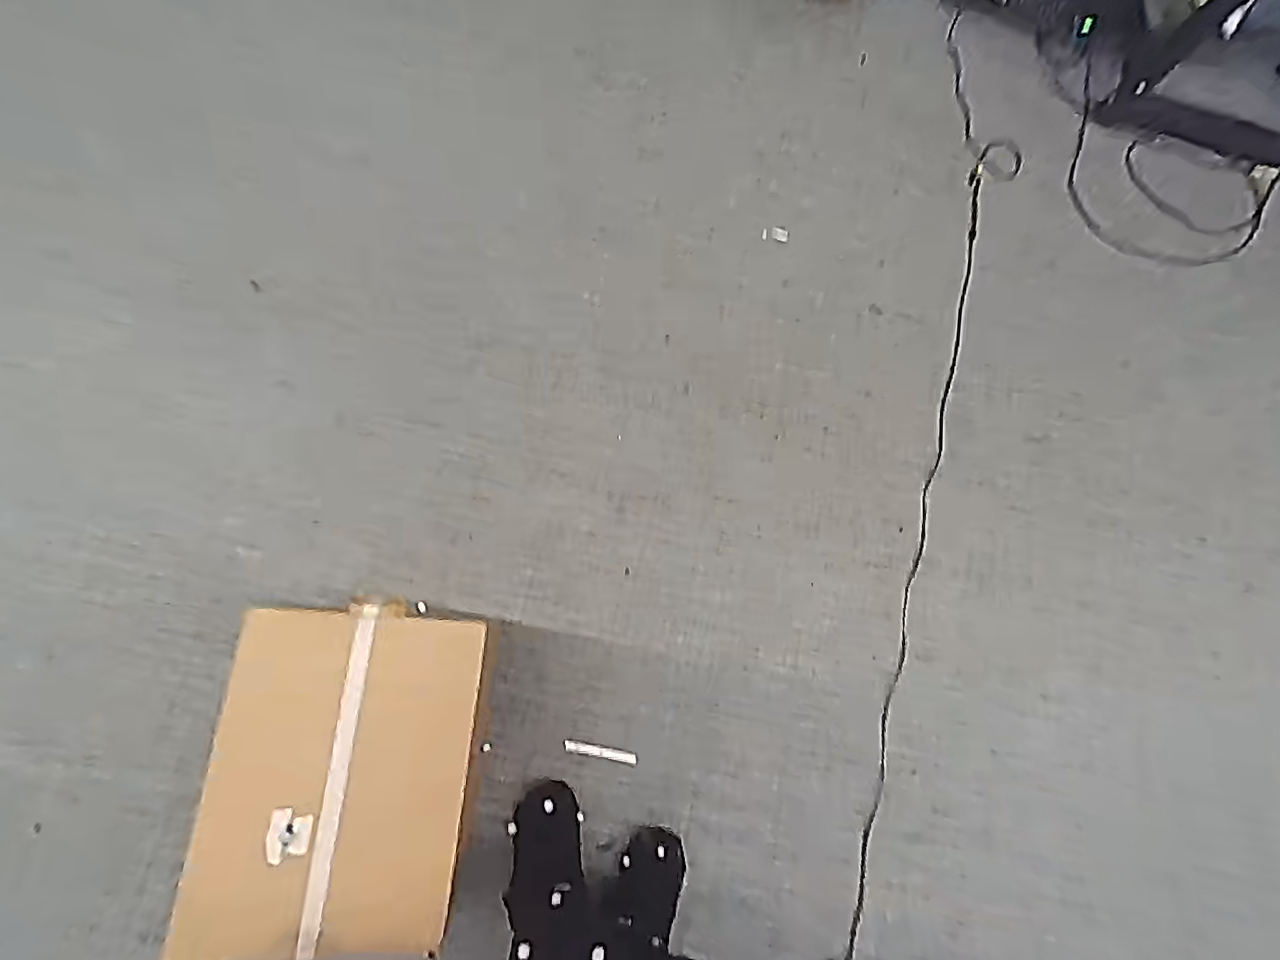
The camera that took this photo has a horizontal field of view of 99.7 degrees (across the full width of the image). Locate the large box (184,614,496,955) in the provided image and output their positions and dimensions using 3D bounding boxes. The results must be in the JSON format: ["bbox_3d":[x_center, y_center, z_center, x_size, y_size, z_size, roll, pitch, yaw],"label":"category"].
[{"bbox_3d":[-0.417,0.427,0.862,0.320,0.320,0.408,6,76,-8],"label":"large box"}]
